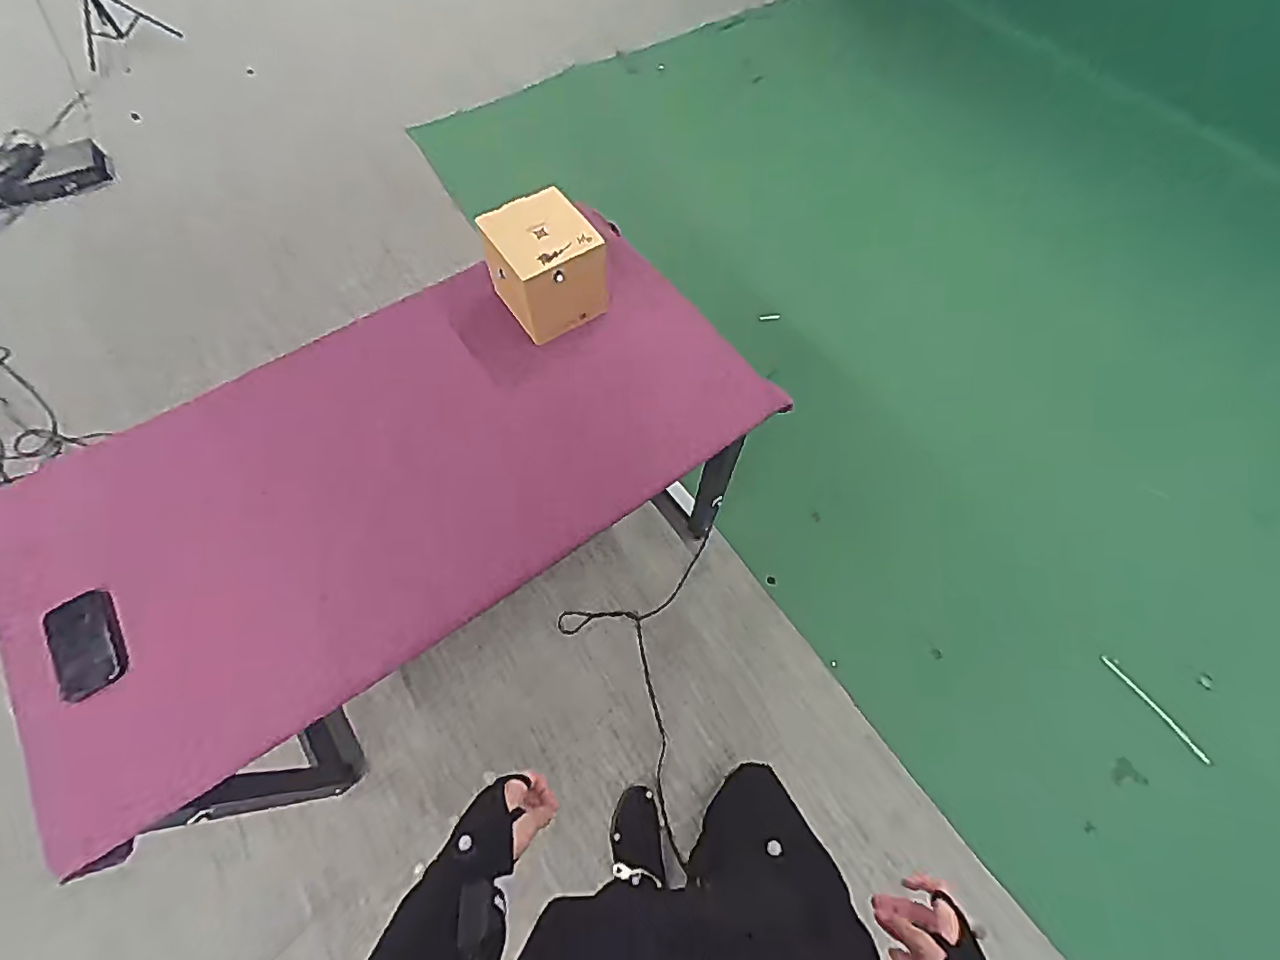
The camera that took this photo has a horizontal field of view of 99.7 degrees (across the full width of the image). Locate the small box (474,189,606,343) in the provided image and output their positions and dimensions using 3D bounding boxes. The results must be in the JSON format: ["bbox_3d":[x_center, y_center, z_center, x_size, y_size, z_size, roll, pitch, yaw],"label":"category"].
[{"bbox_3d":[-0.178,-0.392,1.006,0.168,0.176,0.179,-33,69,-13],"label":"small box"}]
